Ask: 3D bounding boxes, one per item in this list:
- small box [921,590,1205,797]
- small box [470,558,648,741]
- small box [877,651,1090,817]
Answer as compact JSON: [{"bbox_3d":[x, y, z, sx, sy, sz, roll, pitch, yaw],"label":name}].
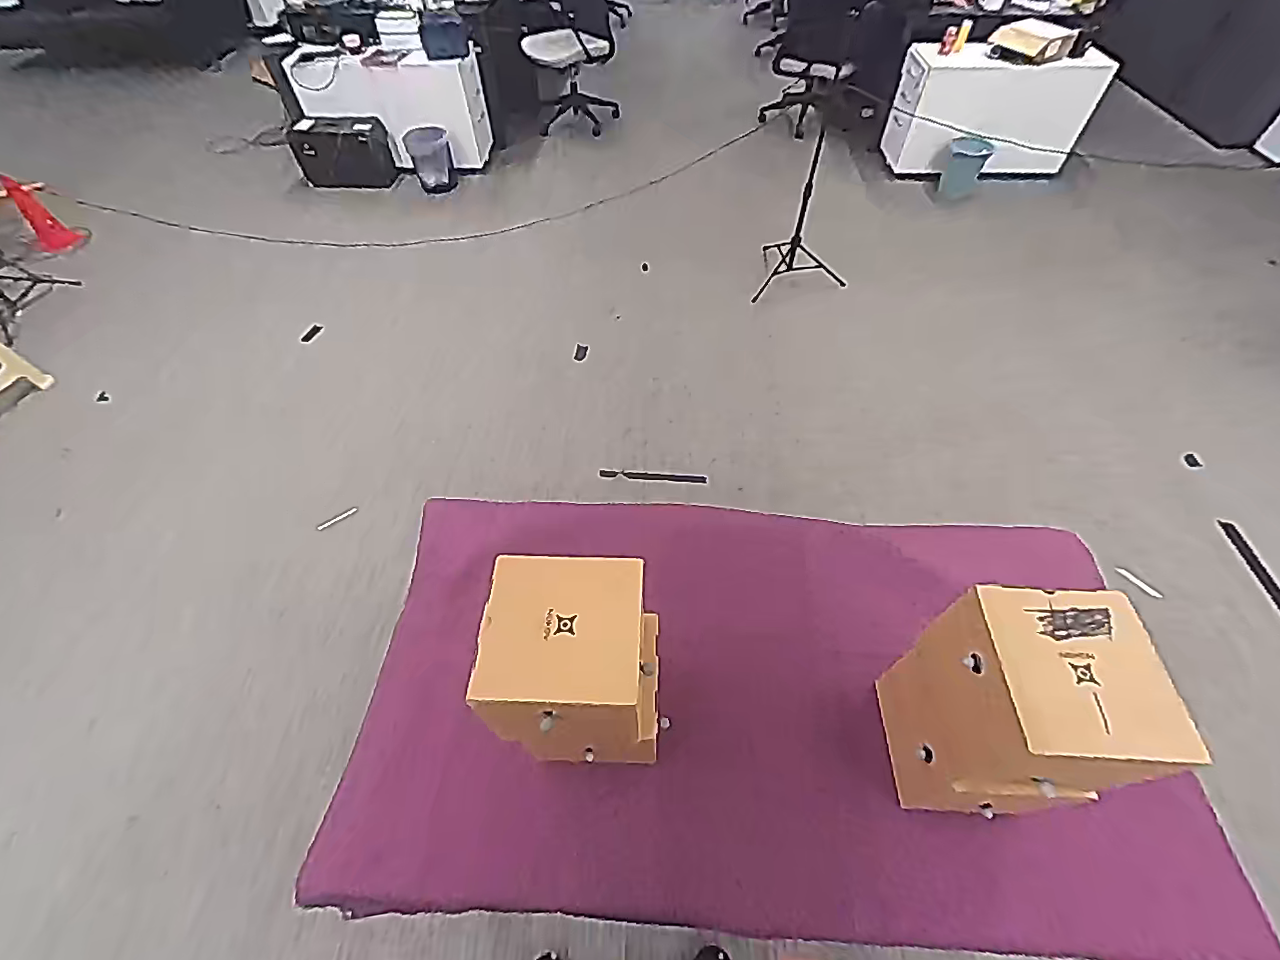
[{"bbox_3d":[0.449,0.246,0.618,0.168,0.176,0.179,3,53,3],"label":"small box"},{"bbox_3d":[-0.080,0.208,0.652,0.179,0.176,0.168,1,53,3],"label":"small box"},{"bbox_3d":[0.449,0.352,0.743,0.168,0.176,0.179,3,53,2],"label":"small box"}]
